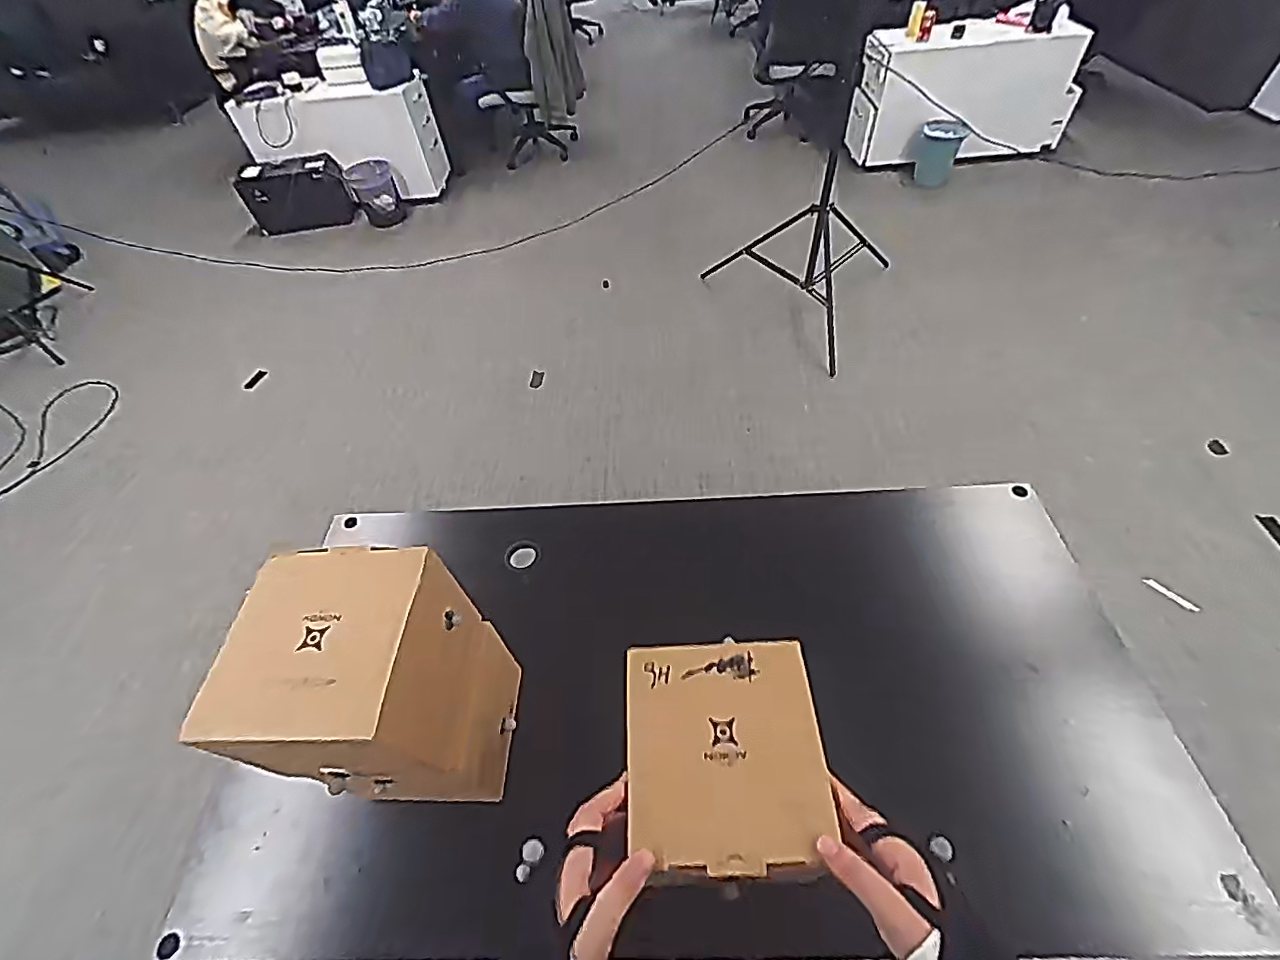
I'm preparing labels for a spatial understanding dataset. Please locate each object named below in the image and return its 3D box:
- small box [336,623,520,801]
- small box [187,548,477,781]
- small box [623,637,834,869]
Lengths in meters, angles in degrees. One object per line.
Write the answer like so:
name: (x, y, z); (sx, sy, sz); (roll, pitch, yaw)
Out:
small box: (-0.262, 0.288, 0.666); (0.179, 0.176, 0.168); (-1, 51, 3)
small box: (-0.276, 0.187, 0.540); (0.168, 0.176, 0.179); (-3, 52, 4)
small box: (0.074, 0.271, 0.528); (0.168, 0.176, 0.179); (-4, 52, 2)
